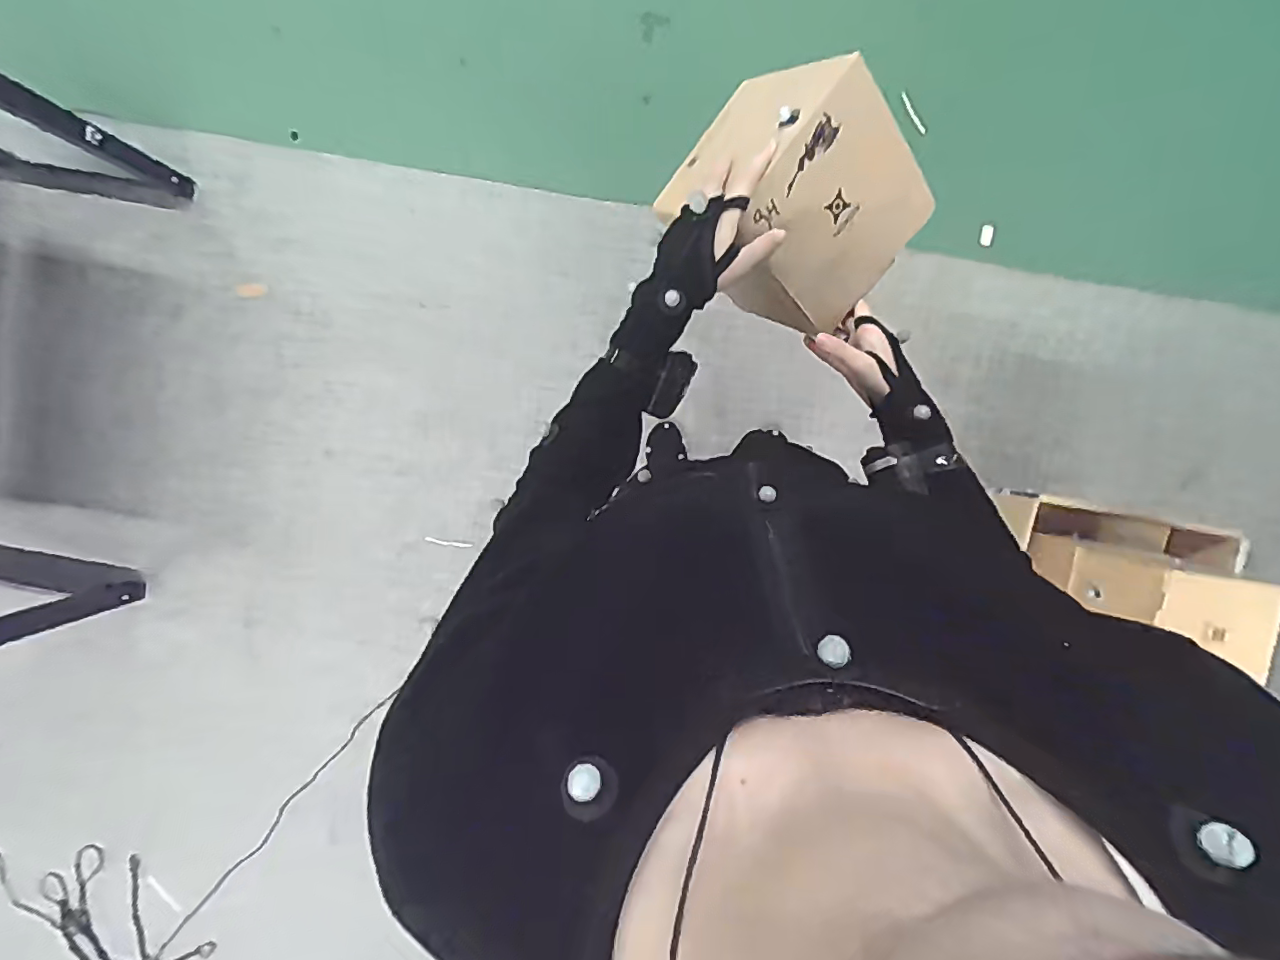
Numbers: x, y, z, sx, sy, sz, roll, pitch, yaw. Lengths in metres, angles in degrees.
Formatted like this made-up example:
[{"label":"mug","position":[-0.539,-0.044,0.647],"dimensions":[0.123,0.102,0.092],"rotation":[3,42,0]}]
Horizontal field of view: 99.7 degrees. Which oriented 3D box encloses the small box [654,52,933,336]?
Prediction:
[{"label":"small box","position":[0.148,-0.280,0.553],"dimensions":[0.179,0.176,0.168],"rotation":[33,99,-35]}]
